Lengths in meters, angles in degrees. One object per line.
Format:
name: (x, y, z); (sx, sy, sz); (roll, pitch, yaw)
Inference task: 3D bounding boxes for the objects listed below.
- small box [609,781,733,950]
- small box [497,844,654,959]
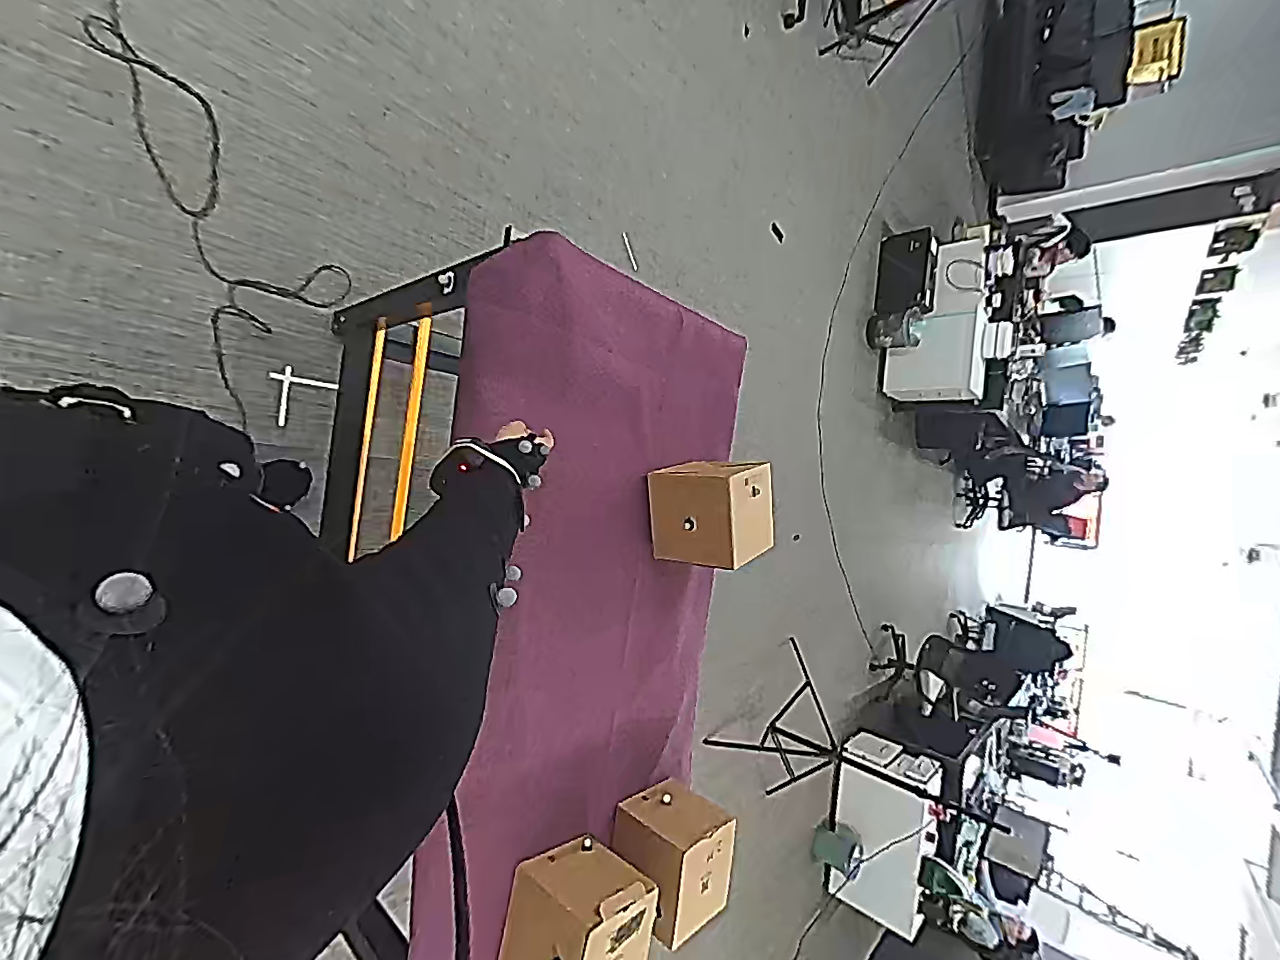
small box: (0.053, 0.720, 1.034); (0.168, 0.176, 0.179); (8, 88, -48)
small box: (-0.104, 0.718, 0.858); (0.168, 0.176, 0.179); (17, 82, -49)
